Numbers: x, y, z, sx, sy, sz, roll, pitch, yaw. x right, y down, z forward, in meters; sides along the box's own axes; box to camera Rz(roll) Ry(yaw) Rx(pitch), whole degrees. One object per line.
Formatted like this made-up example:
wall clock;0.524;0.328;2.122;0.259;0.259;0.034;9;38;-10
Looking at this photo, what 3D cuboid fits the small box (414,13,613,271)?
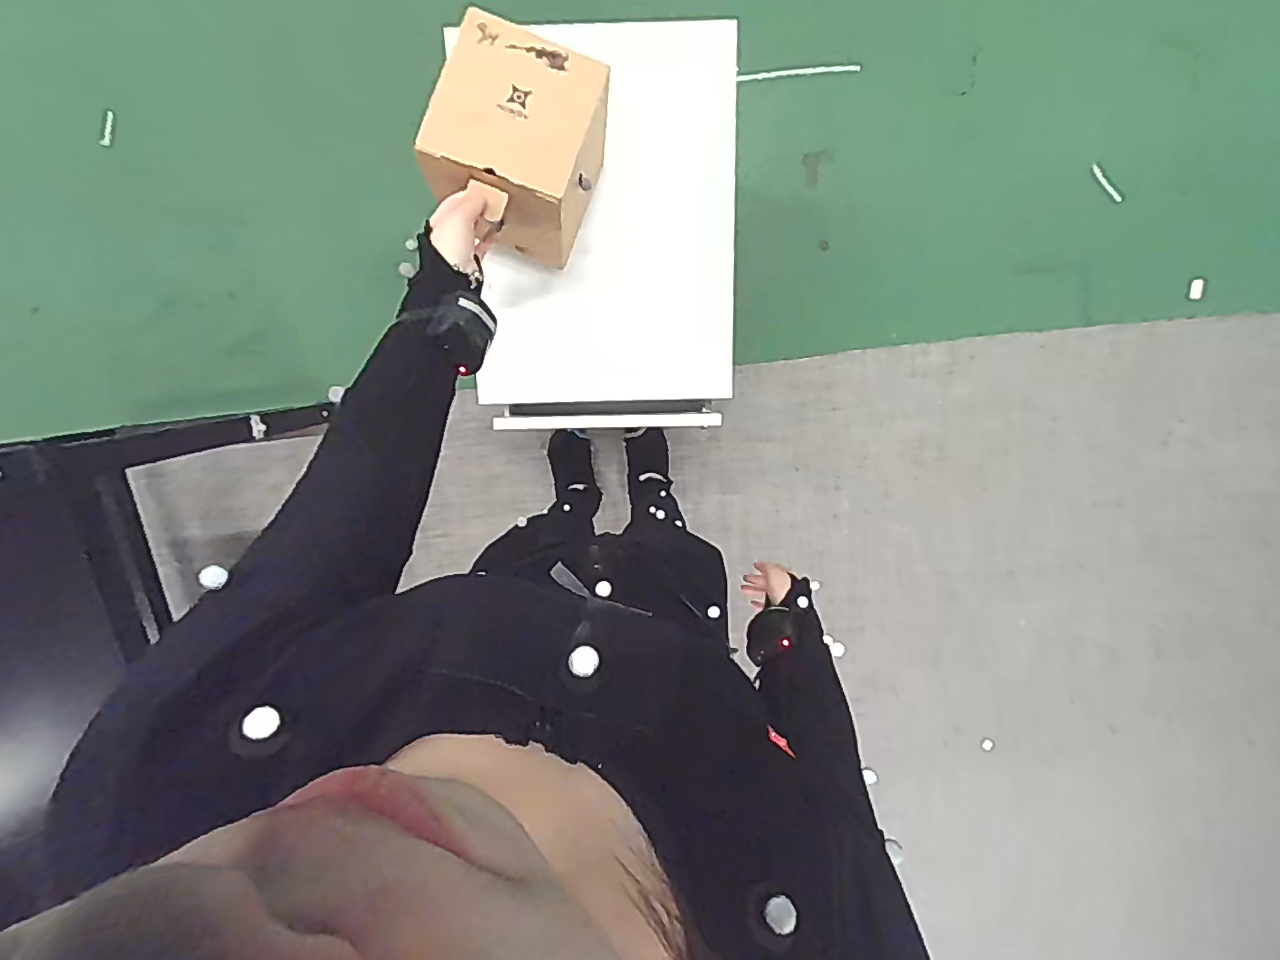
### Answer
small box;-0.140;-0.388;0.656;0.168;0.176;0.179;20;84;-5
